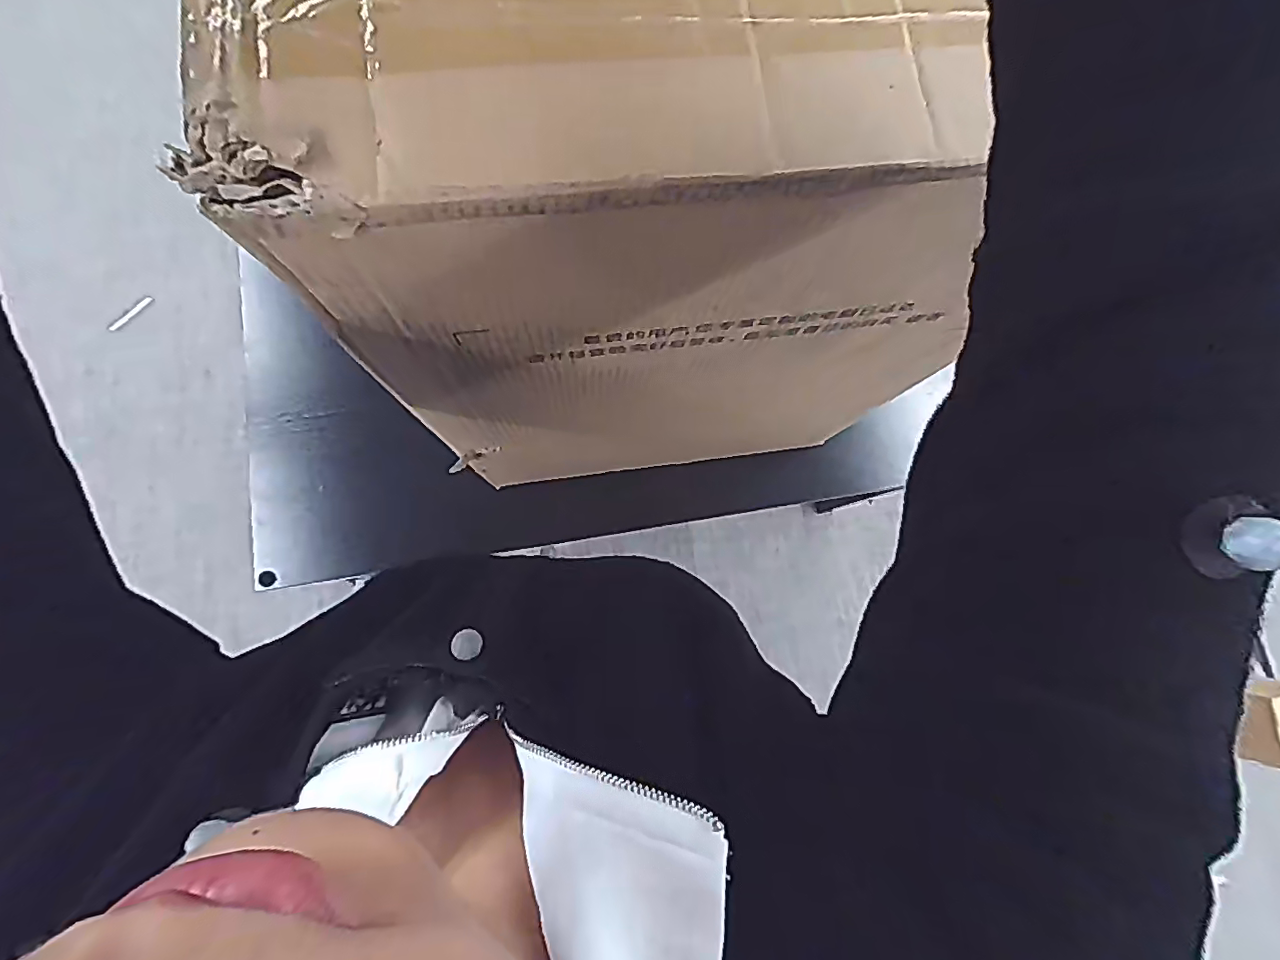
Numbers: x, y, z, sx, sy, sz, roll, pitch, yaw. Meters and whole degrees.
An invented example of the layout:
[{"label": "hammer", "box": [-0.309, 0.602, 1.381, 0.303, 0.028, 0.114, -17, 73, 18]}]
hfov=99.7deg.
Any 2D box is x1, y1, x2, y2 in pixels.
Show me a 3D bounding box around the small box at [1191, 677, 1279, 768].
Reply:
[{"label": "small box", "box": [1.560, 0.599, 1.354, 0.179, 0.176, 0.168, -5, 80, -5]}]
